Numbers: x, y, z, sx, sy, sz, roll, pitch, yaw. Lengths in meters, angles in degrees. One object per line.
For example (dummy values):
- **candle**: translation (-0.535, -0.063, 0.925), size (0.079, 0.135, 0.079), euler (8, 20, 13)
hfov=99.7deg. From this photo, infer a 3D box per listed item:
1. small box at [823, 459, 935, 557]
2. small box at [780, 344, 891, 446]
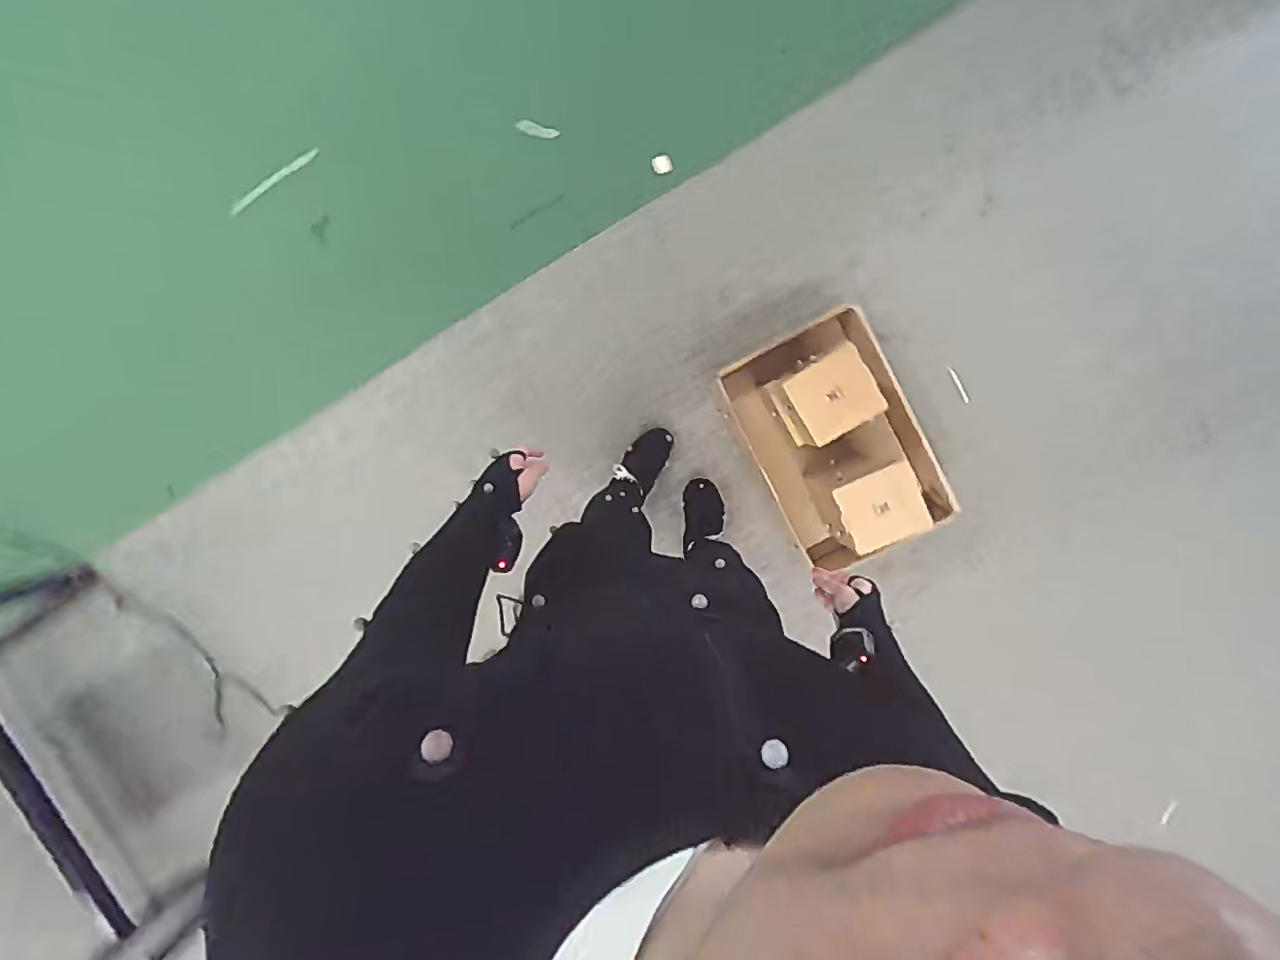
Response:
- **small box**: translation (0.548, 0.060, 1.271), size (0.179, 0.176, 0.168), euler (-23, 94, 8)
- **small box**: translation (0.440, -0.192, 1.257), size (0.179, 0.176, 0.168), euler (-30, 93, 8)
